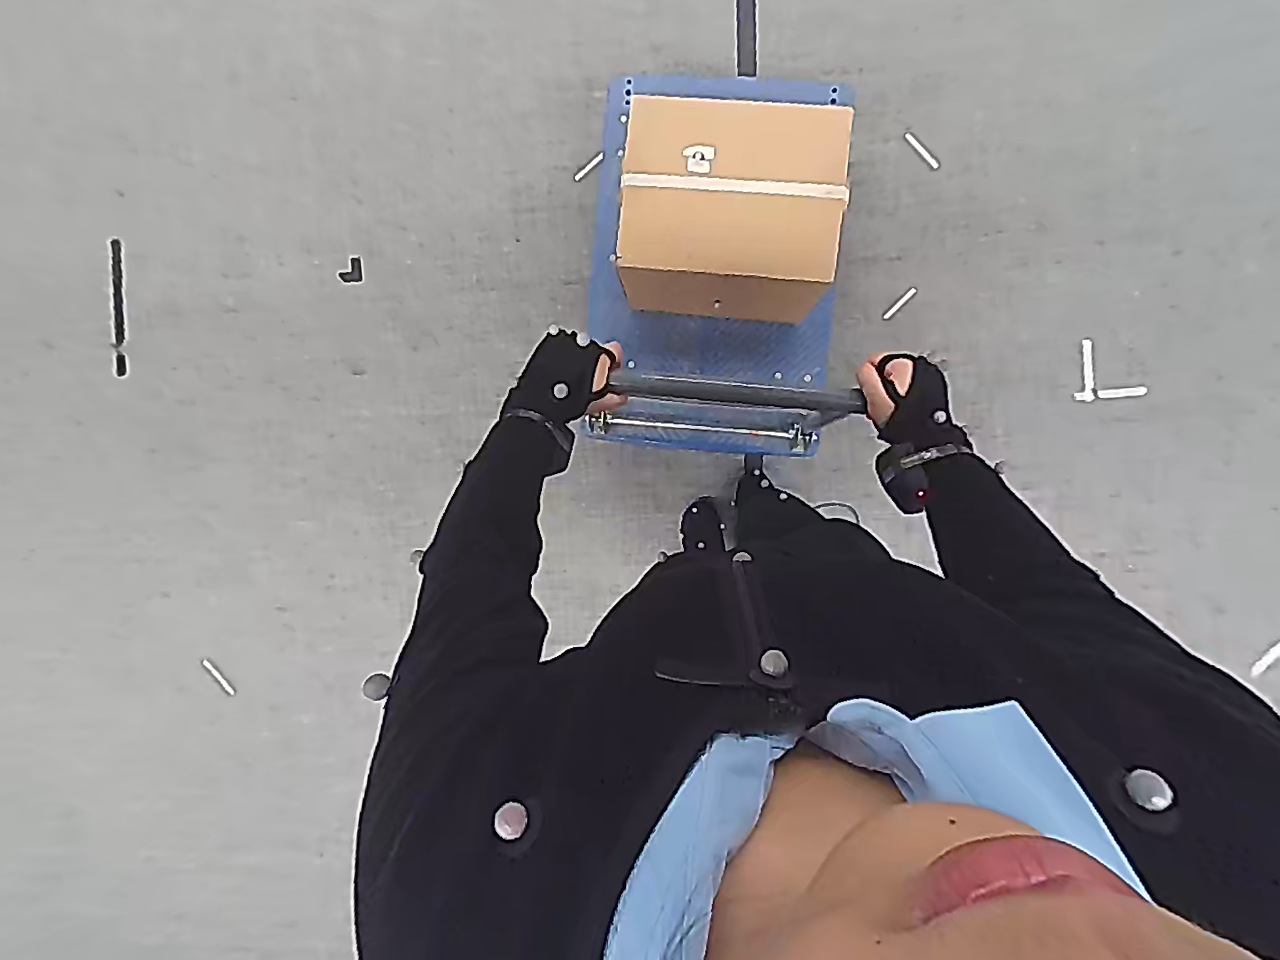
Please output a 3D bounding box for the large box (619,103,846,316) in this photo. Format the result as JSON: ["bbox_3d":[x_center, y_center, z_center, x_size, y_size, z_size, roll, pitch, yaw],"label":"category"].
[{"bbox_3d":[0.185,-0.549,1.156,0.408,0.320,0.320,6,92,5],"label":"large box"}]
